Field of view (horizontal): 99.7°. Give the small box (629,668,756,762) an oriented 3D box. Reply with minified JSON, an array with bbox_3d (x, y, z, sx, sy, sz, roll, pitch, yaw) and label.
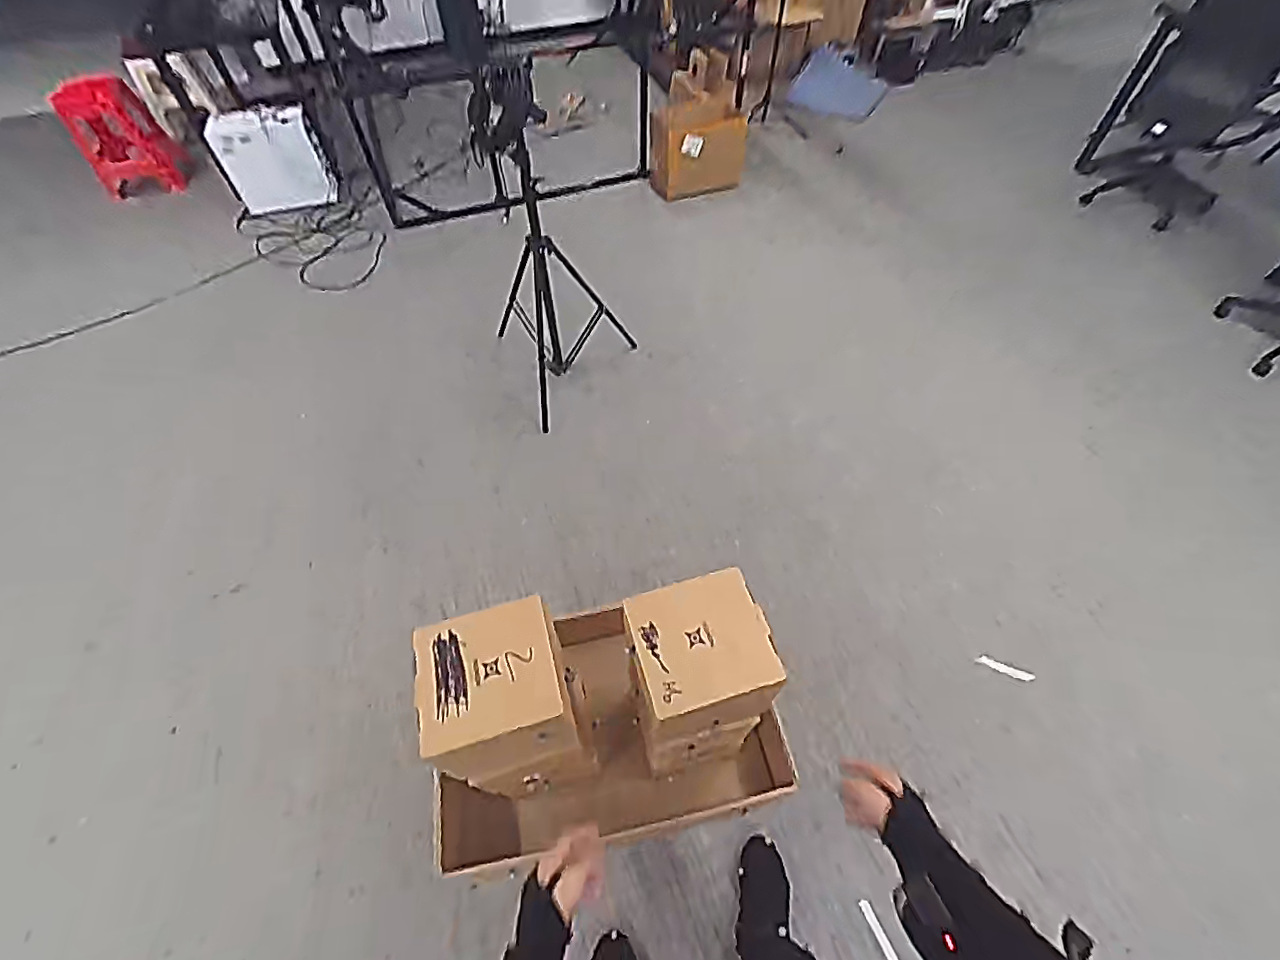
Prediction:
[{"bbox_3d":[0.077,0.356,0.905,0.168,0.176,0.179,-12,55,-8],"label":"small box"}]

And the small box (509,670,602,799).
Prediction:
[{"bbox_3d":[-0.177,0.483,1.017,0.179,0.176,0.168,-13,56,-9],"label":"small box"}]

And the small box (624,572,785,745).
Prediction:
[{"bbox_3d":[0.079,0.258,0.773,0.179,0.176,0.168,-13,55,-10],"label":"small box"}]

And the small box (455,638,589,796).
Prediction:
[{"bbox_3d":[-0.189,0.388,0.882,0.168,0.176,0.179,-16,56,-8],"label":"small box"}]
